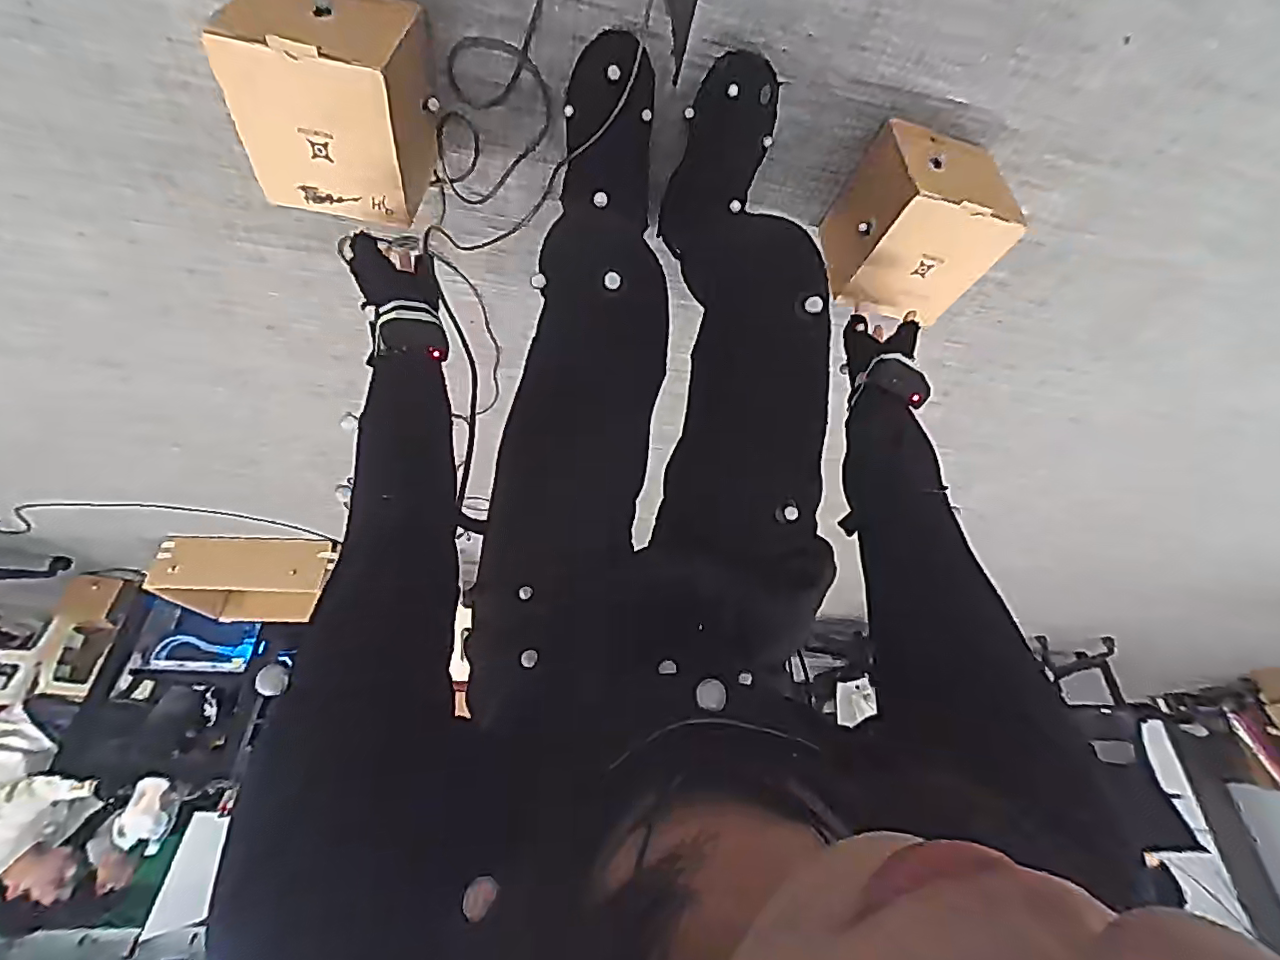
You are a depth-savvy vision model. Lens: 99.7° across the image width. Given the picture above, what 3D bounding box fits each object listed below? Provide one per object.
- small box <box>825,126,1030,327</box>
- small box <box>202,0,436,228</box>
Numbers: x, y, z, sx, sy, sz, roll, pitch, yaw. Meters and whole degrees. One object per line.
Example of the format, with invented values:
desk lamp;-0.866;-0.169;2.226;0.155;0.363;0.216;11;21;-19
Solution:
small box;0.379;-0.349;0.753;0.168;0.176;0.179;9;149;-12
small box;-0.341;-0.430;0.620;0.168;0.176;0.179;7;146;-9
